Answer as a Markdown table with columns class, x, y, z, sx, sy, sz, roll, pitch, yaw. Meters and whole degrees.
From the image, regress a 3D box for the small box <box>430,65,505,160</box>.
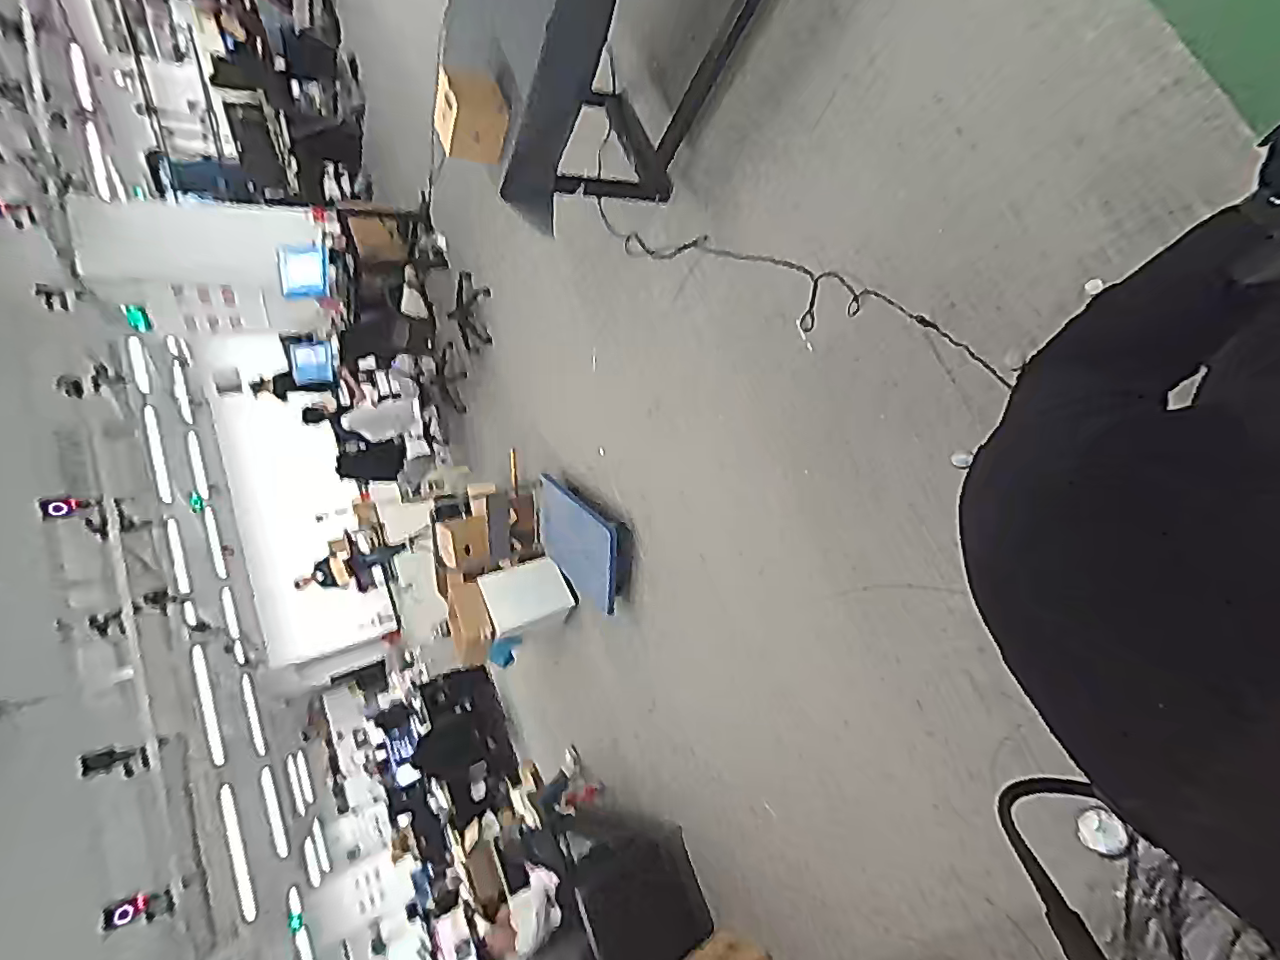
| class | x | y | z | sx | sy | sz | roll | pitch | yaw |
| --- | --- | --- | --- | --- | --- | --- | --- | --- | --- |
| small box | -0.539 | -1.145 | 1.699 | 0.179 | 0.176 | 0.168 | -42 | 67 | 54 |
